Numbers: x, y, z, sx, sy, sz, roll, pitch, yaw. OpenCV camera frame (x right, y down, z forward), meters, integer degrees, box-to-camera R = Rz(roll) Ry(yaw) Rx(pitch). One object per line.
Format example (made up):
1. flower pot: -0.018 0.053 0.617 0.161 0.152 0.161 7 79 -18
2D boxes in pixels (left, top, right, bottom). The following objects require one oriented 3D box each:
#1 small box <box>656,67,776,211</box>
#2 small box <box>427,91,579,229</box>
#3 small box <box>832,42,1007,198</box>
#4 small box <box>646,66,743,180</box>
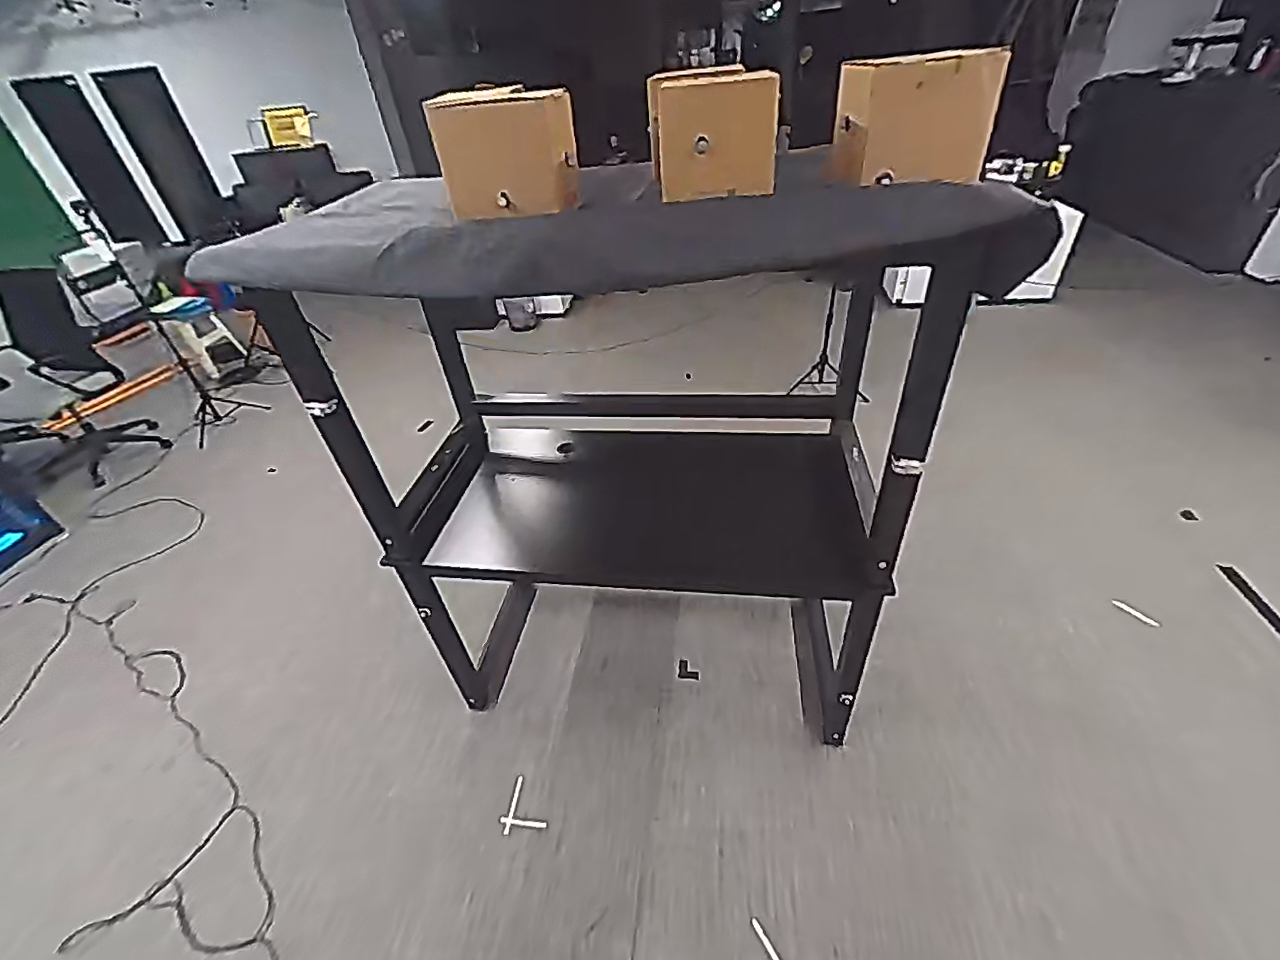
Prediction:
1. small box: 0.120 -0.526 0.842 0.168 0.176 0.179 -1 37 8
2. small box: -0.204 -0.512 0.868 0.179 0.176 0.168 1 37 8
3. small box: 0.390 -0.520 0.792 0.168 0.176 0.179 -3 37 5
4. small box: 0.114 -0.704 1.070 0.179 0.176 0.168 1 39 9
